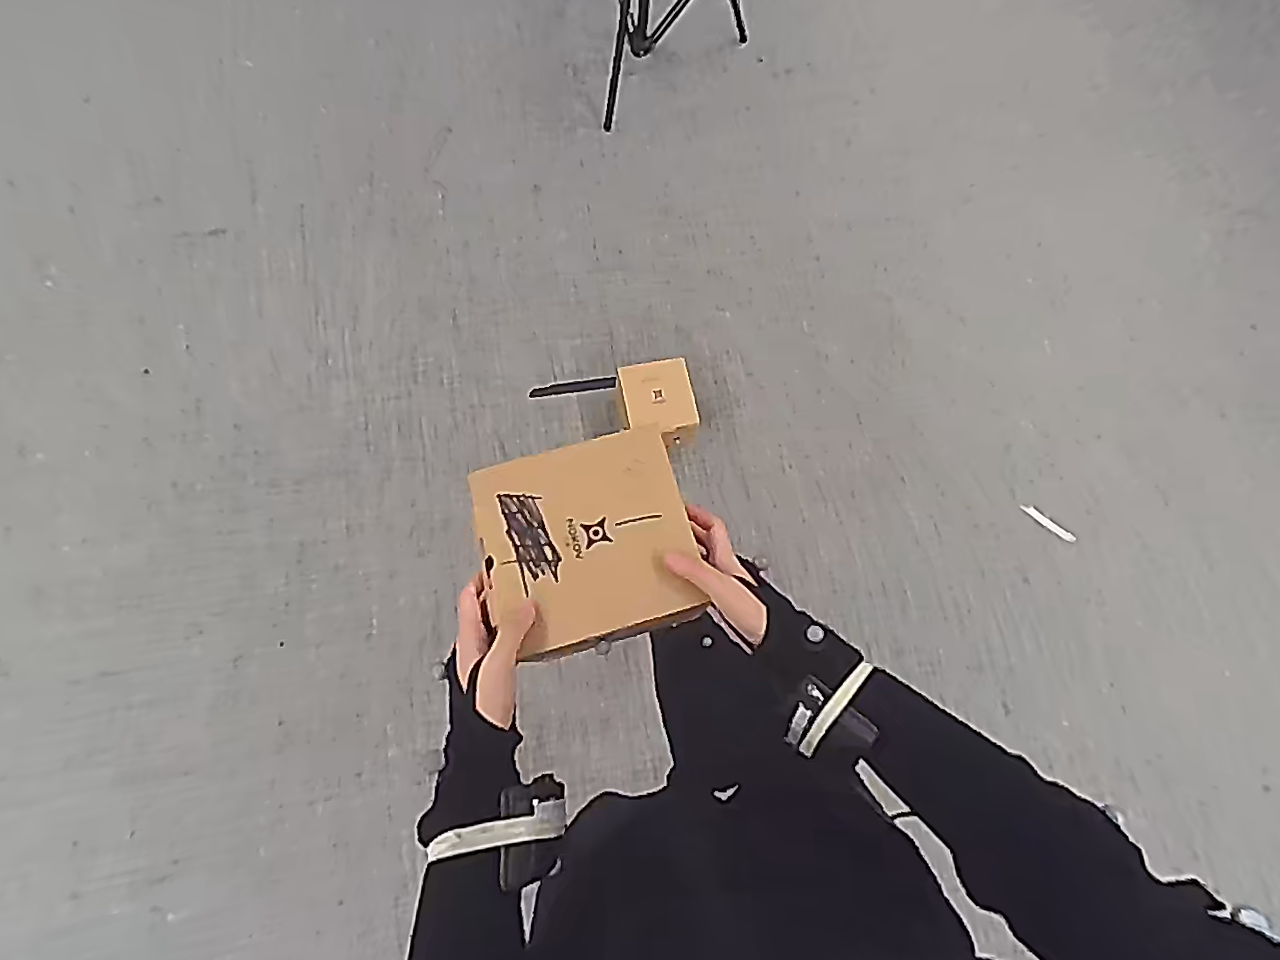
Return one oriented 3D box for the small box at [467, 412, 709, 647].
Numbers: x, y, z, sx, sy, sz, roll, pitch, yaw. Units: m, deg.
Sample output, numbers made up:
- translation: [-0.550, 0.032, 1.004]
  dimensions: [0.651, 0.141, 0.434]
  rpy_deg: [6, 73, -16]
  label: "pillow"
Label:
- translation: [-0.045, 0.060, 0.531]
  dimensions: [0.179, 0.176, 0.168]
  rpy_deg: [-17, 73, -4]
  label: "small box"
